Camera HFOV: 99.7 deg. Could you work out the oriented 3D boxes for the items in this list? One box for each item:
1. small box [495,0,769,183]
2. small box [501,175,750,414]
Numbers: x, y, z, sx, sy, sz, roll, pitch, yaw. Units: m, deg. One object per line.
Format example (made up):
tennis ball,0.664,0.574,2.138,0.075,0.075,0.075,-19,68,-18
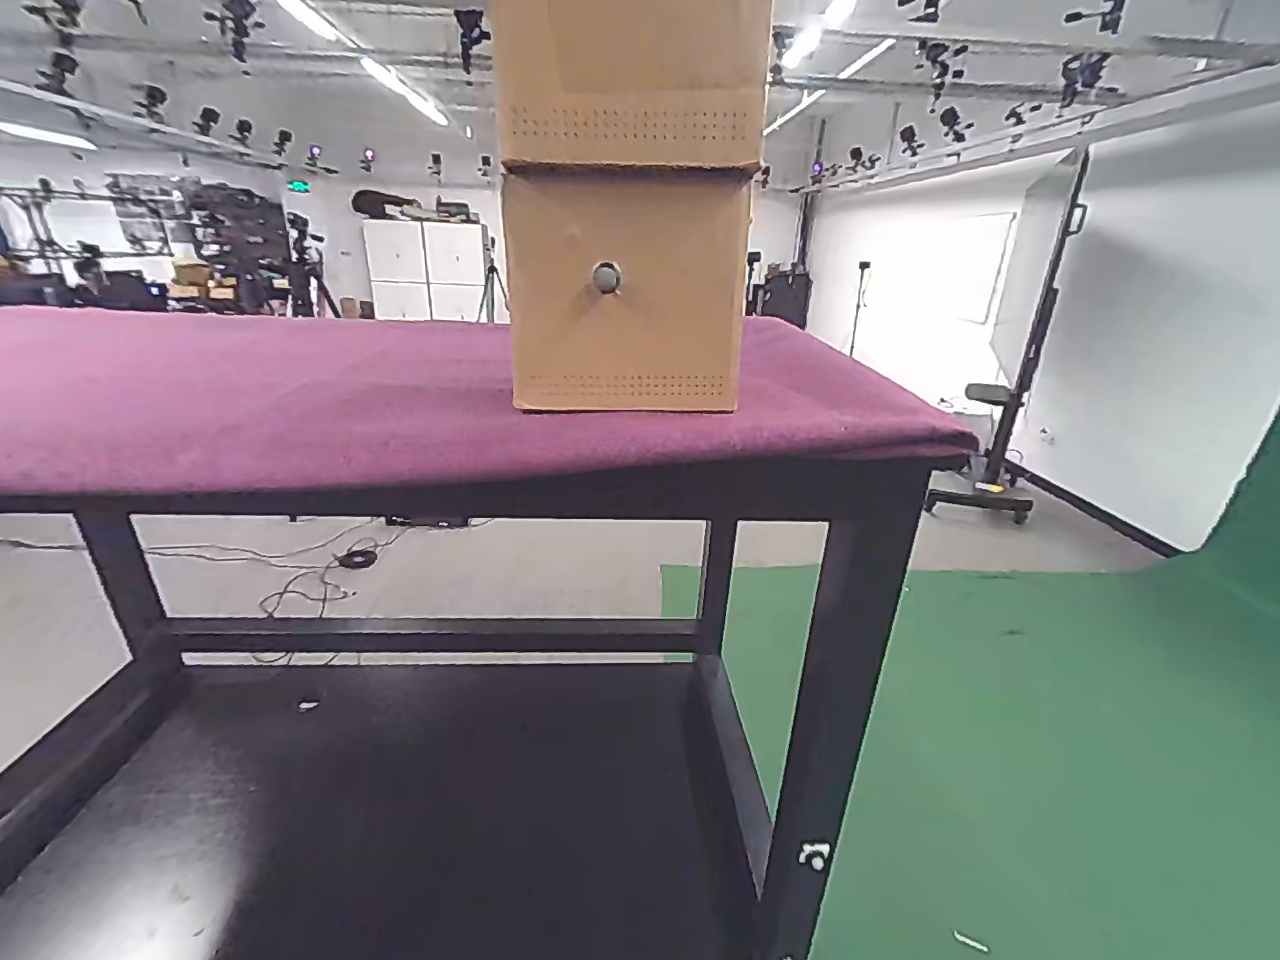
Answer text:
small box,-0.007,-0.303,0.401,0.179,0.176,0.168,0,20,-2
small box,-0.010,-0.155,0.471,0.179,0.176,0.168,0,21,-2
